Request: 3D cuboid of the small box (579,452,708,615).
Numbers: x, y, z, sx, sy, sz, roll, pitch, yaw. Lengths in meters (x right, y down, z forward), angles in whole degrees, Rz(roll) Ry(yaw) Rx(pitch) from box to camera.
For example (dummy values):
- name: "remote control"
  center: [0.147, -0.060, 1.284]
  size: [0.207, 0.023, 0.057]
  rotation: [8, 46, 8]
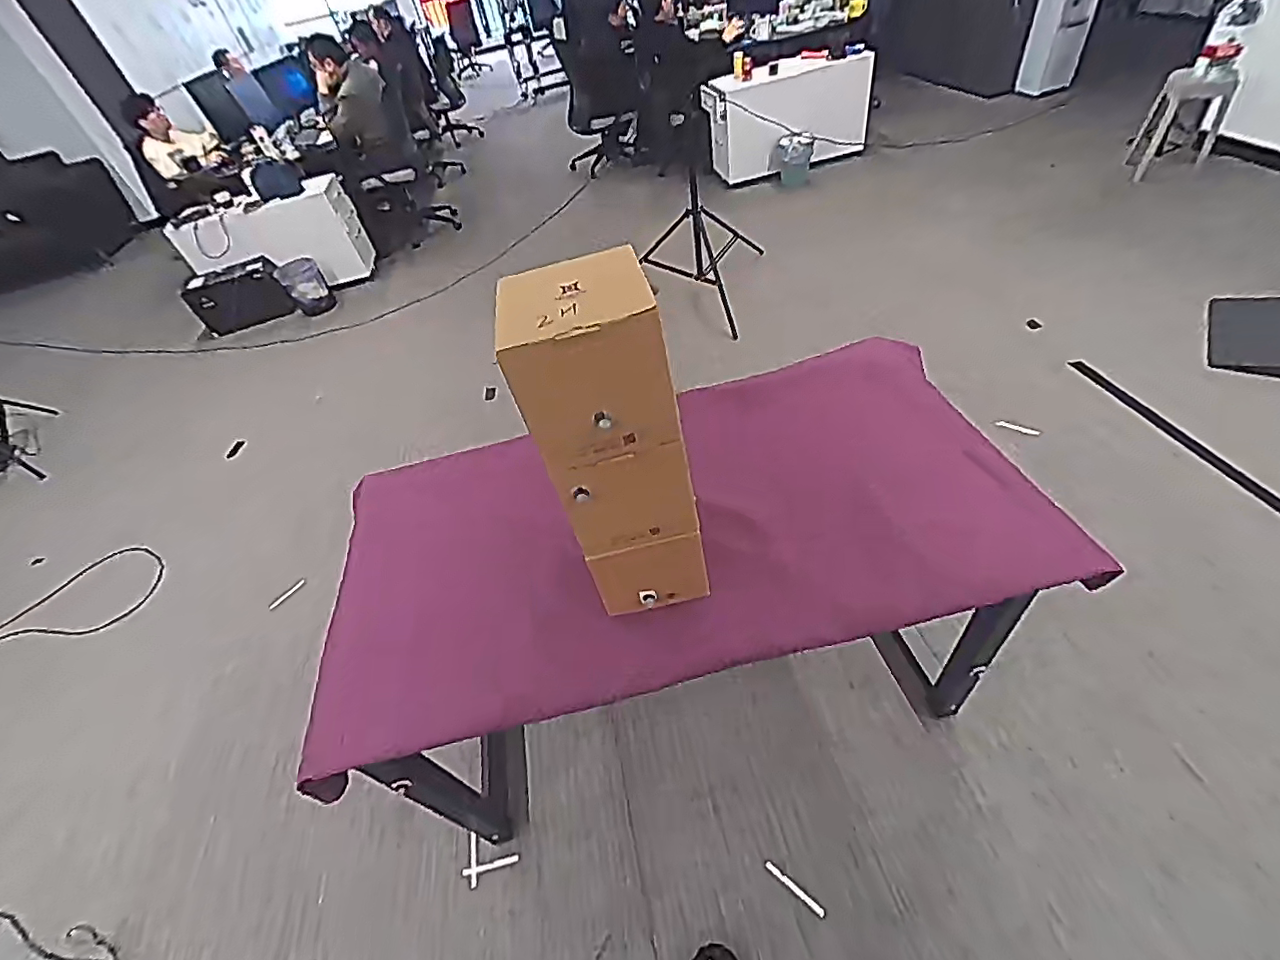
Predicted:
- name: "small box"
  center: [0.005, 0.087, 0.863]
  size: [0.168, 0.176, 0.179]
  rotation: [-14, 46, 1]

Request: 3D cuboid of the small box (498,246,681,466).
- name: "small box"
  center: [-0.056, -0.145, 0.637]
  size: [0.168, 0.176, 0.179]
  rotation: [-15, 44, 1]
